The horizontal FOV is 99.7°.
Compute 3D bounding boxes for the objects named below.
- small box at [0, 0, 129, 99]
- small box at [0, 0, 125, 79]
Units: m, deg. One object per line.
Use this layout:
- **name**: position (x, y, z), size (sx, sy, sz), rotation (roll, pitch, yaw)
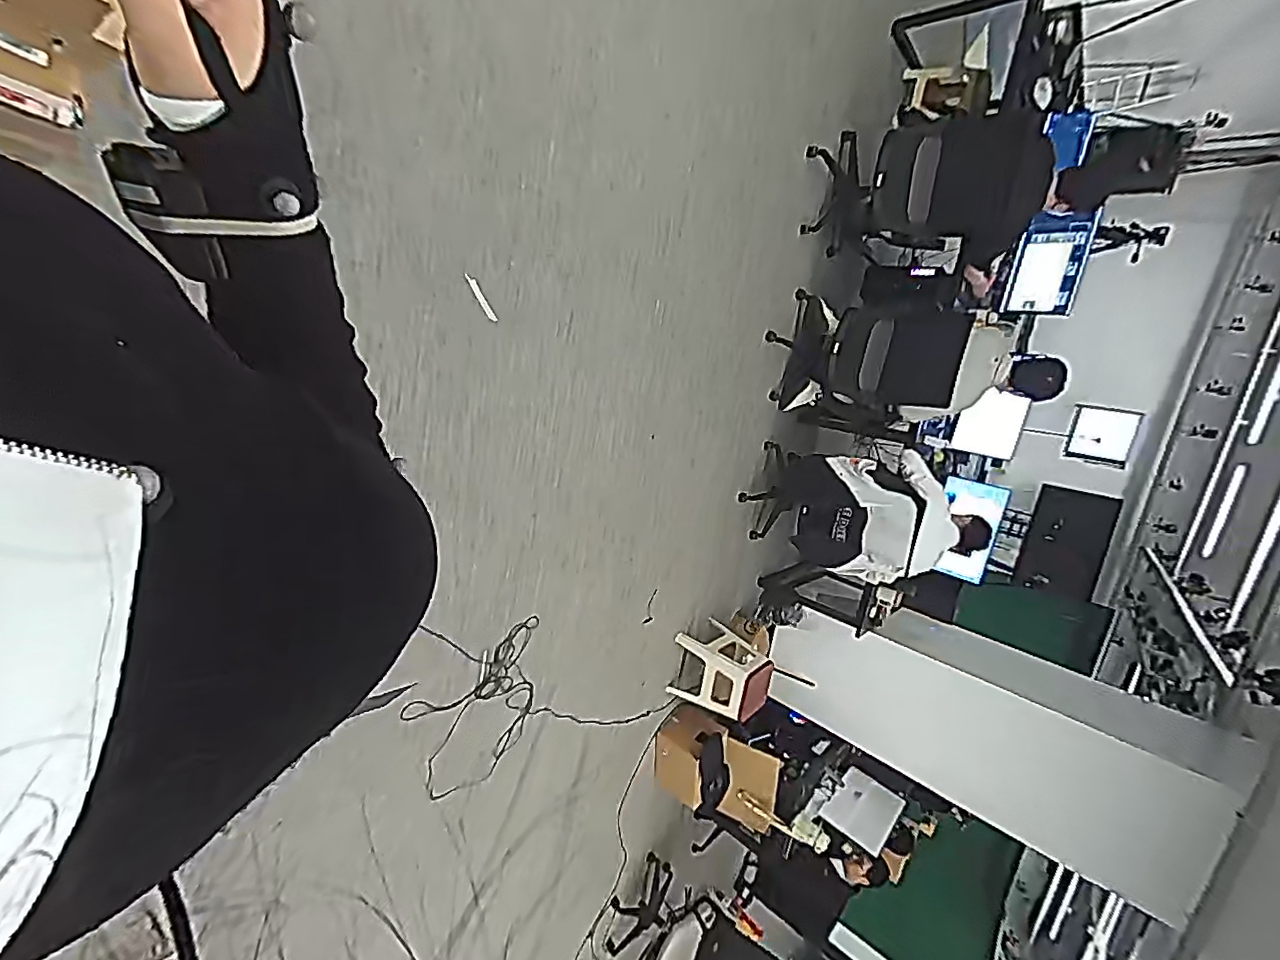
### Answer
- **small box**: position (-0.659, -0.524, 0.553), size (0.179, 0.176, 0.168), rotation (1, 105, -53)
- **small box**: position (-0.545, -0.477, 0.443), size (0.168, 0.176, 0.179), rotation (8, 101, -55)
